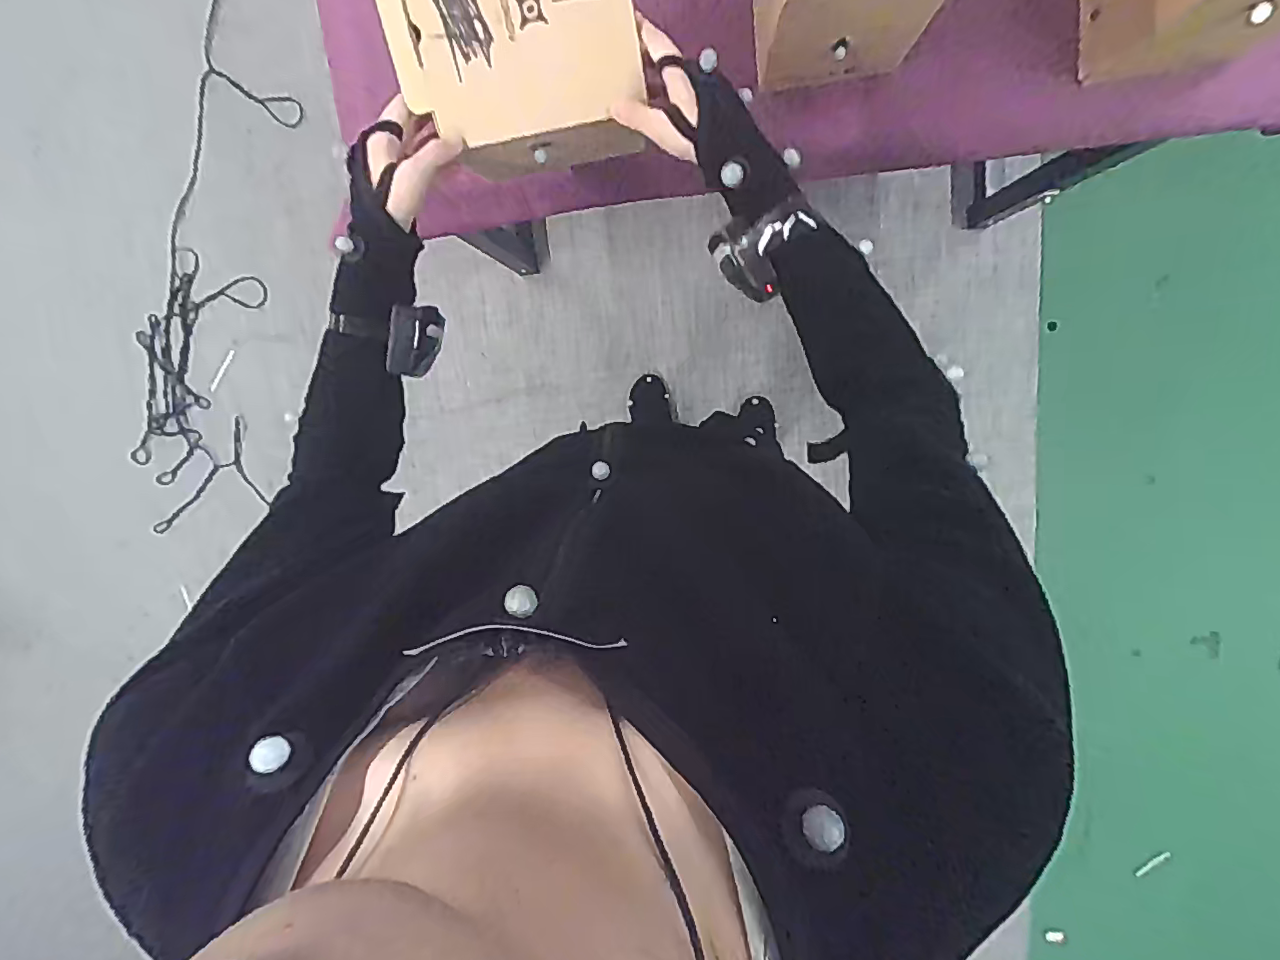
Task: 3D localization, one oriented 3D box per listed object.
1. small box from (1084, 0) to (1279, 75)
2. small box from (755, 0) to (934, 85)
[{"bbox_3d":[0.594,-0.546,0.534,0.179,0.176,0.168,-6,101,8],"label":"small box"},{"bbox_3d":[0.214,-0.554,0.569,0.168,0.176,0.179,-5,99,7],"label":"small box"}]
